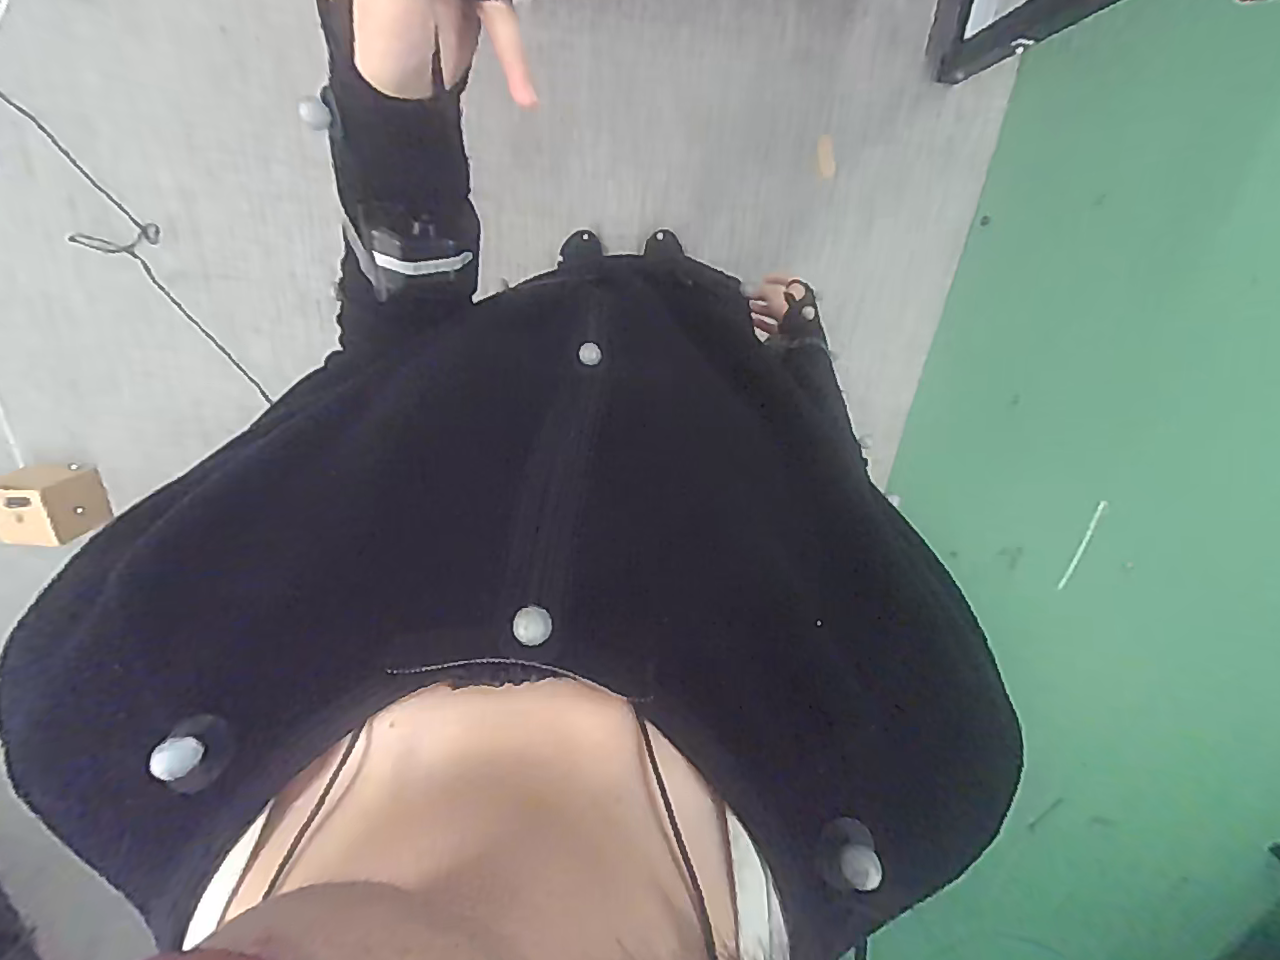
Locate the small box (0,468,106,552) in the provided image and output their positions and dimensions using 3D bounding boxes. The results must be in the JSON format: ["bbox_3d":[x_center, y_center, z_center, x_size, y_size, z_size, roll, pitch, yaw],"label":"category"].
[{"bbox_3d":[-1.664,0.079,1.505,0.168,0.176,0.179,5,114,-2],"label":"small box"}]
